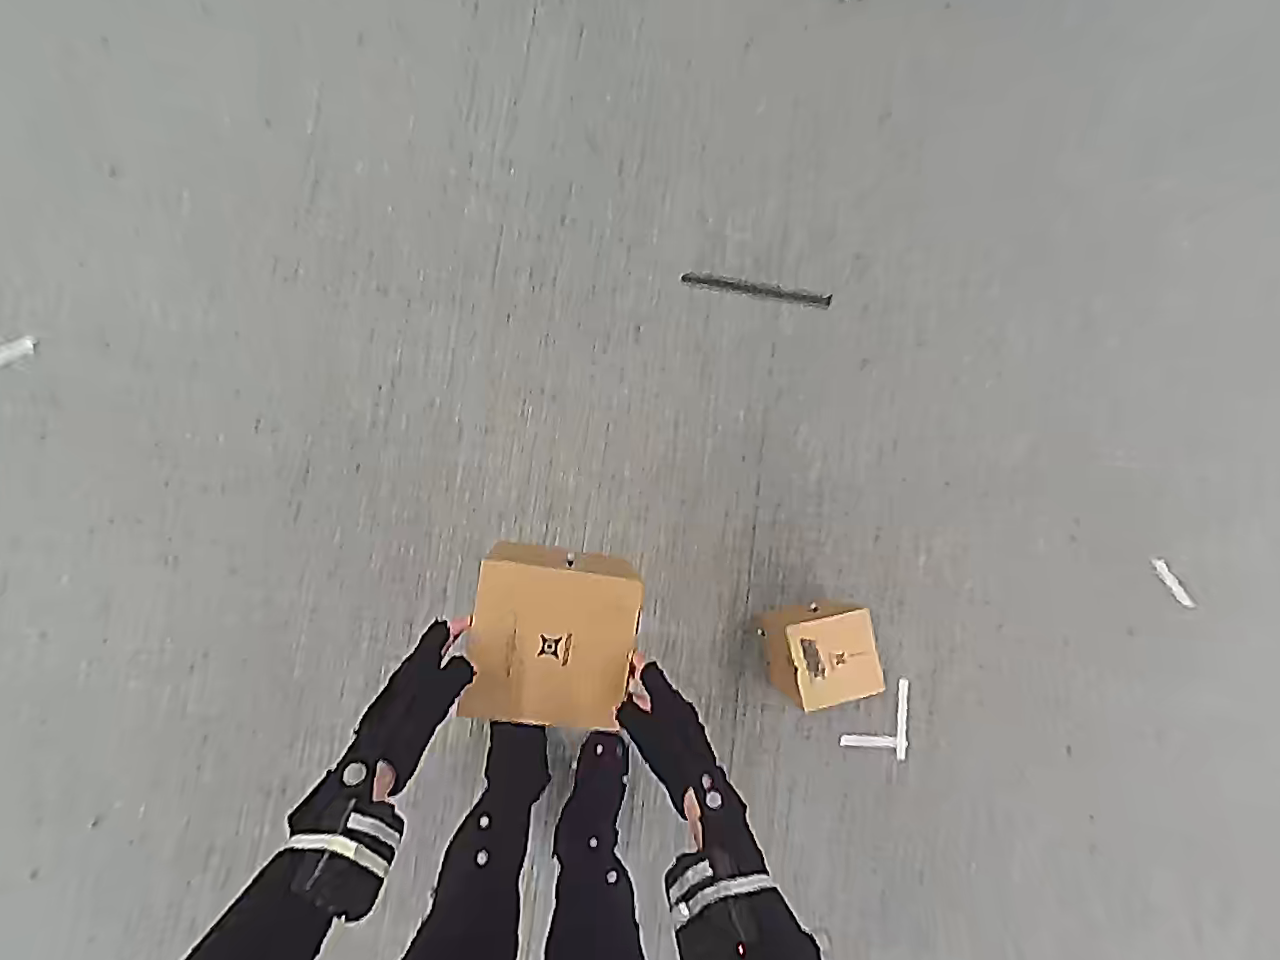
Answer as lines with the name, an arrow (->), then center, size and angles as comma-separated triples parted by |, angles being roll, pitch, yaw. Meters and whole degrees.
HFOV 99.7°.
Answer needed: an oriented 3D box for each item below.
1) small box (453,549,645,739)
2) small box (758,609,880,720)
small box -> -0.104, 0.181, 0.640 | 0.179, 0.176, 0.168 | 10, 88, -8
small box -> 0.358, 0.373, 1.122 | 0.179, 0.176, 0.168 | -10, 85, -9
